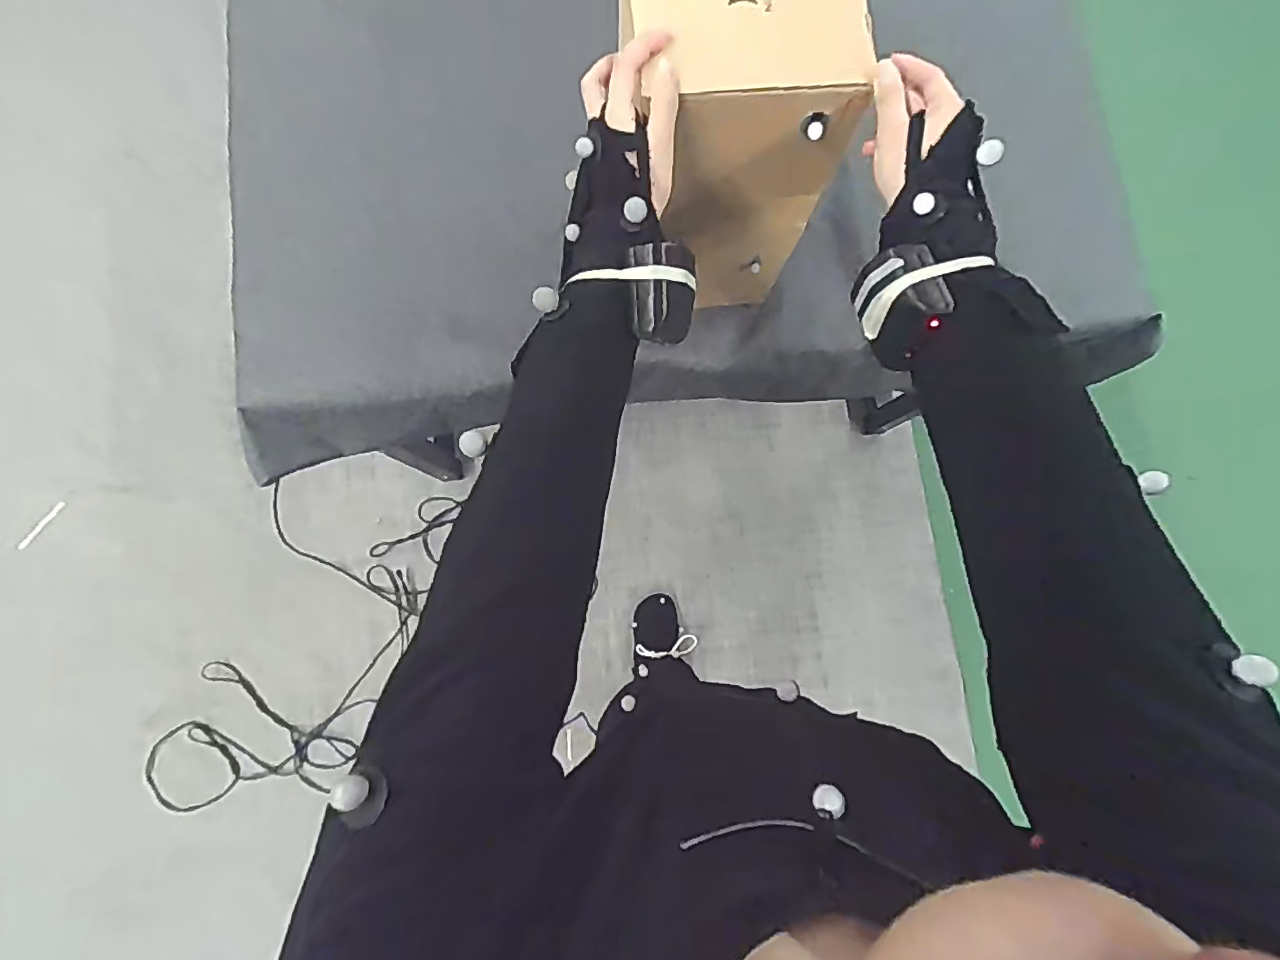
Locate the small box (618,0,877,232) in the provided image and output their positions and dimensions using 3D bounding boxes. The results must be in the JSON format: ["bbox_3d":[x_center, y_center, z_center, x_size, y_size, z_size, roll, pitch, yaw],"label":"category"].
[{"bbox_3d":[0.073,-0.340,0.473,0.179,0.176,0.168,-6,81,-4],"label":"small box"}]
